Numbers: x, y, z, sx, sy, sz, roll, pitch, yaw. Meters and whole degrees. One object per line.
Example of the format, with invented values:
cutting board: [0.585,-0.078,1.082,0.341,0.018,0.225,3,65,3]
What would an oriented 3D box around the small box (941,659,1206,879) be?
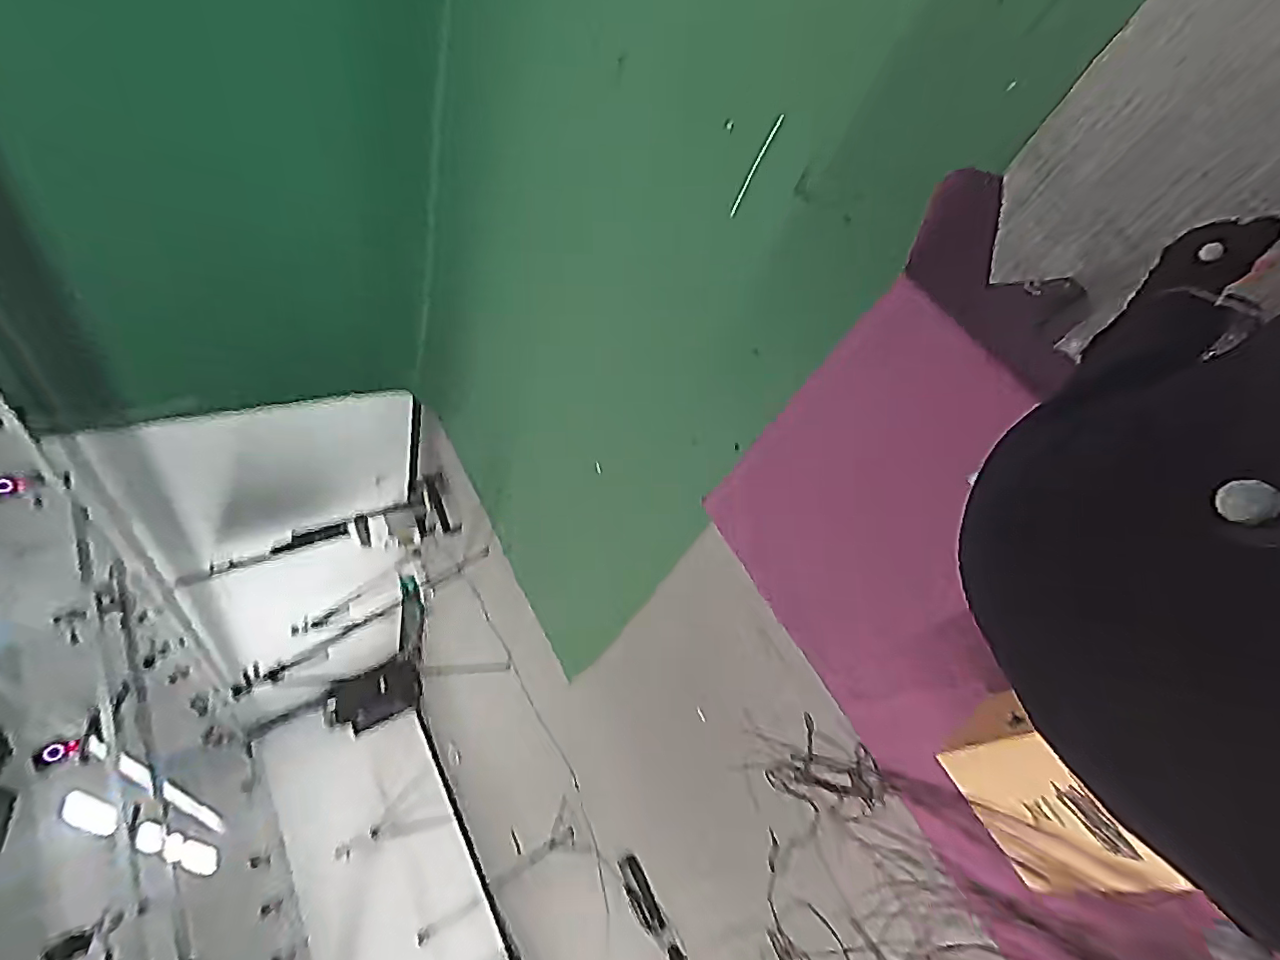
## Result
small box: [0.520,0.342,0.653,0.168,0.176,0.179,58,143,21]
